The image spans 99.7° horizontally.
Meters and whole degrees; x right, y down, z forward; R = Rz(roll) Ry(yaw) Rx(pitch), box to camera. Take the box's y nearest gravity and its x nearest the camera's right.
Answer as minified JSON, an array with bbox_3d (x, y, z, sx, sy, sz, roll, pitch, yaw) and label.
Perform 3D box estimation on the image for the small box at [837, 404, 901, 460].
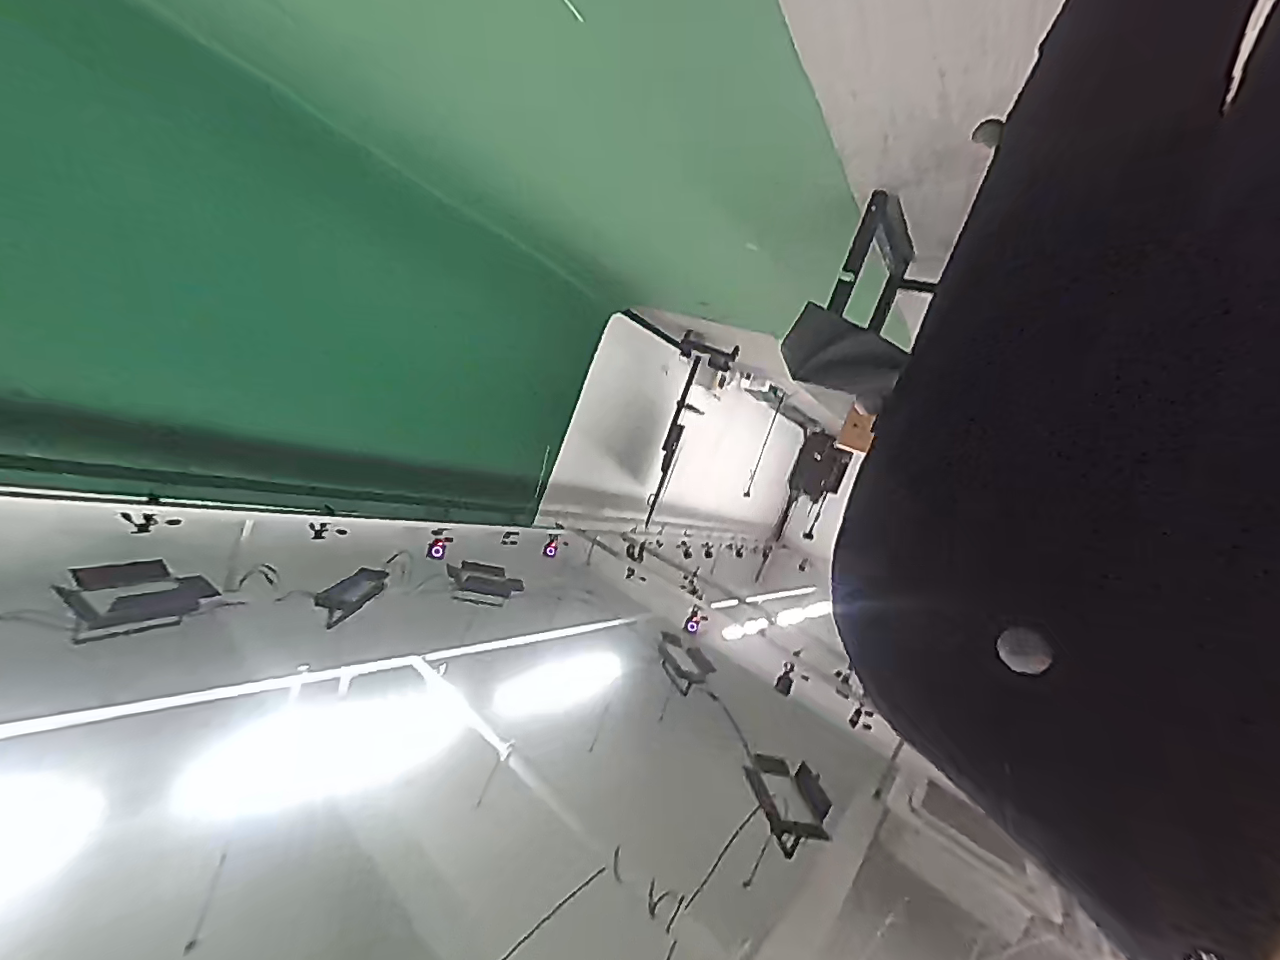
[{"bbox_3d":[0.870,-0.185,2.064,0.179,0.176,0.168,21,-173,19],"label":"small box"}]
